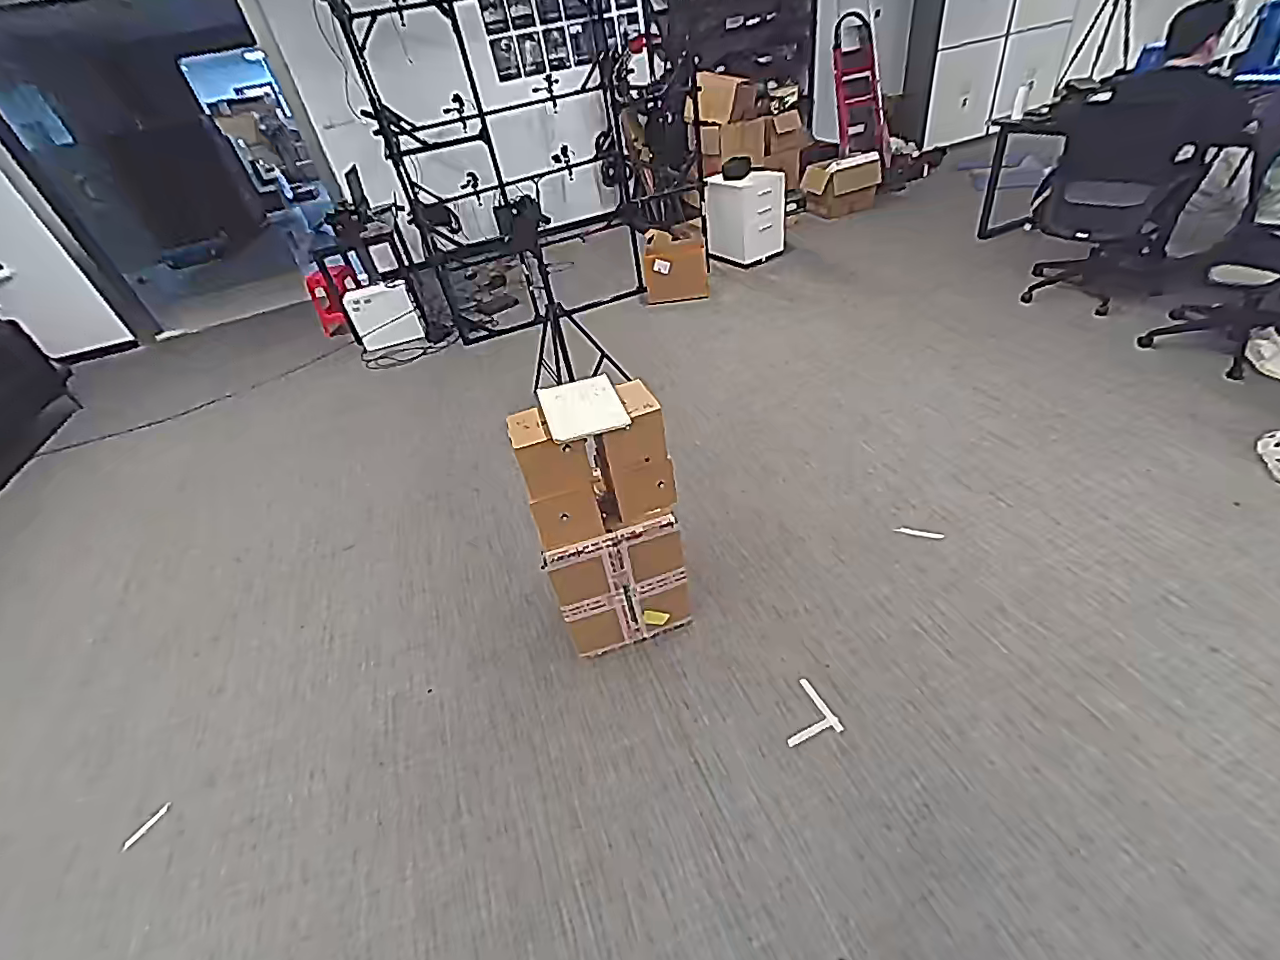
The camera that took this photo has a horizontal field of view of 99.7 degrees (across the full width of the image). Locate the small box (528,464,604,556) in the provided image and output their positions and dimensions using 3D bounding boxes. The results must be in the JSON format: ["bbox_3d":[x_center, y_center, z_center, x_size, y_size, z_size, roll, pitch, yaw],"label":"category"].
[{"bbox_3d":[-0.205,0.087,1.526,0.179,0.176,0.168,-16,40,-4],"label":"small box"}]

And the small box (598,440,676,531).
[{"bbox_3d":[-0.005,0.017,1.563,0.179,0.176,0.168,-20,40,-12],"label":"small box"}]
